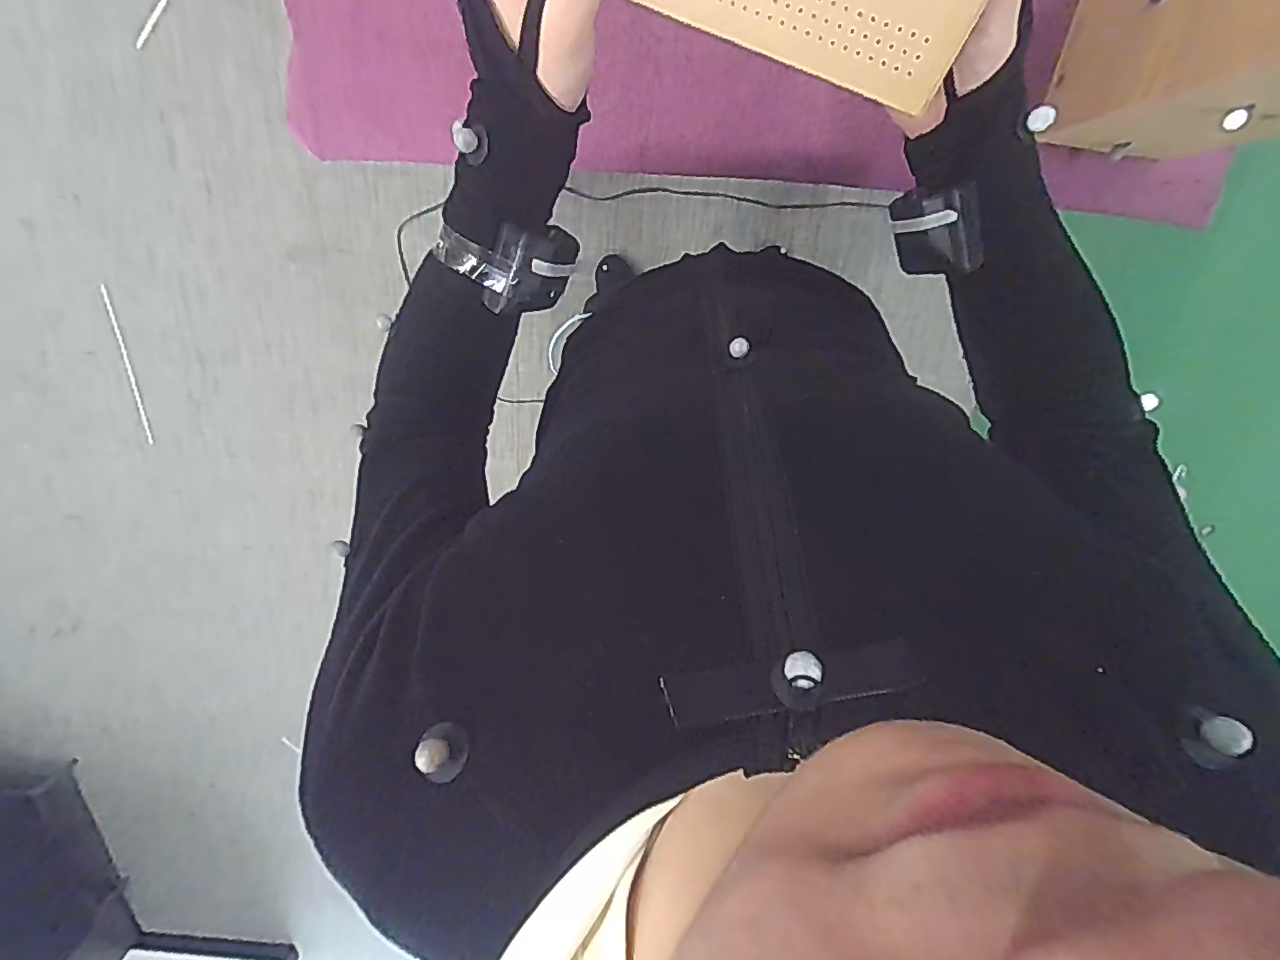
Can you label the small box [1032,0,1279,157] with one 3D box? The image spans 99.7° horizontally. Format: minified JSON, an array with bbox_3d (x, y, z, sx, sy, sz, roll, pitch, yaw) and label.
[{"bbox_3d":[0.593,-0.471,0.594,0.179,0.176,0.168,8,111,0],"label":"small box"}]
